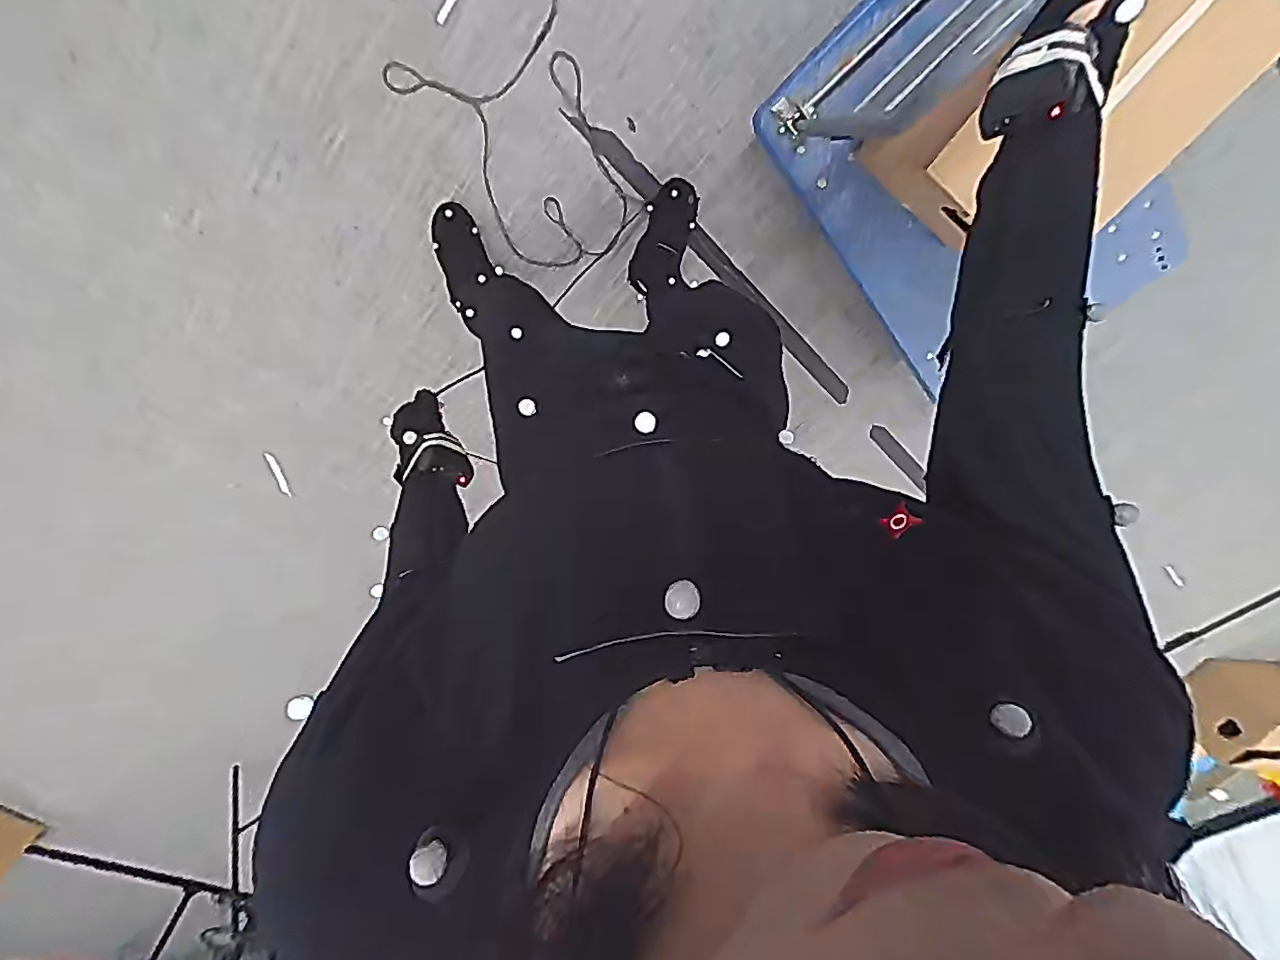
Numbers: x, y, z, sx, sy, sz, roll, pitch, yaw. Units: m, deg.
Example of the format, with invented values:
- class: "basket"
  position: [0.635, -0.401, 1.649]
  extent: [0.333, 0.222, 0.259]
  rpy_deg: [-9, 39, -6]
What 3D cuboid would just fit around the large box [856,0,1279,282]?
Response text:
- class: "large box"
  position: [0.663, -0.631, 0.917]
  extent: [0.320, 0.320, 0.408]
  rpy_deg: [28, 119, -19]
